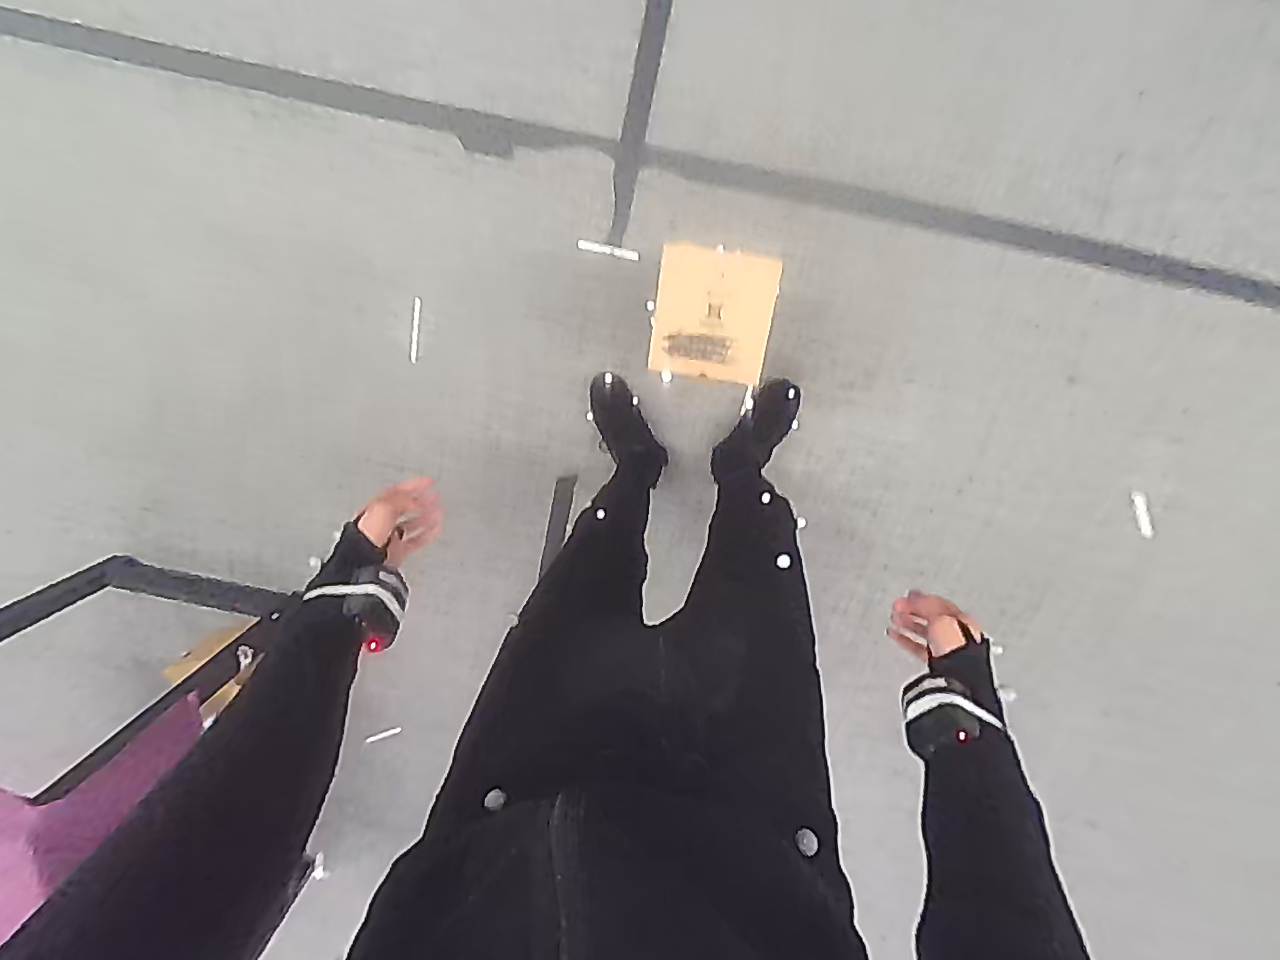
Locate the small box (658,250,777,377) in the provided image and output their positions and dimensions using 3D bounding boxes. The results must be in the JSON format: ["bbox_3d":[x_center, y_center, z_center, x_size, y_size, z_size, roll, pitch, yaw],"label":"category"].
[{"bbox_3d":[0.132,-0.306,0.990,0.168,0.176,0.179,15,110,-2],"label":"small box"}]
